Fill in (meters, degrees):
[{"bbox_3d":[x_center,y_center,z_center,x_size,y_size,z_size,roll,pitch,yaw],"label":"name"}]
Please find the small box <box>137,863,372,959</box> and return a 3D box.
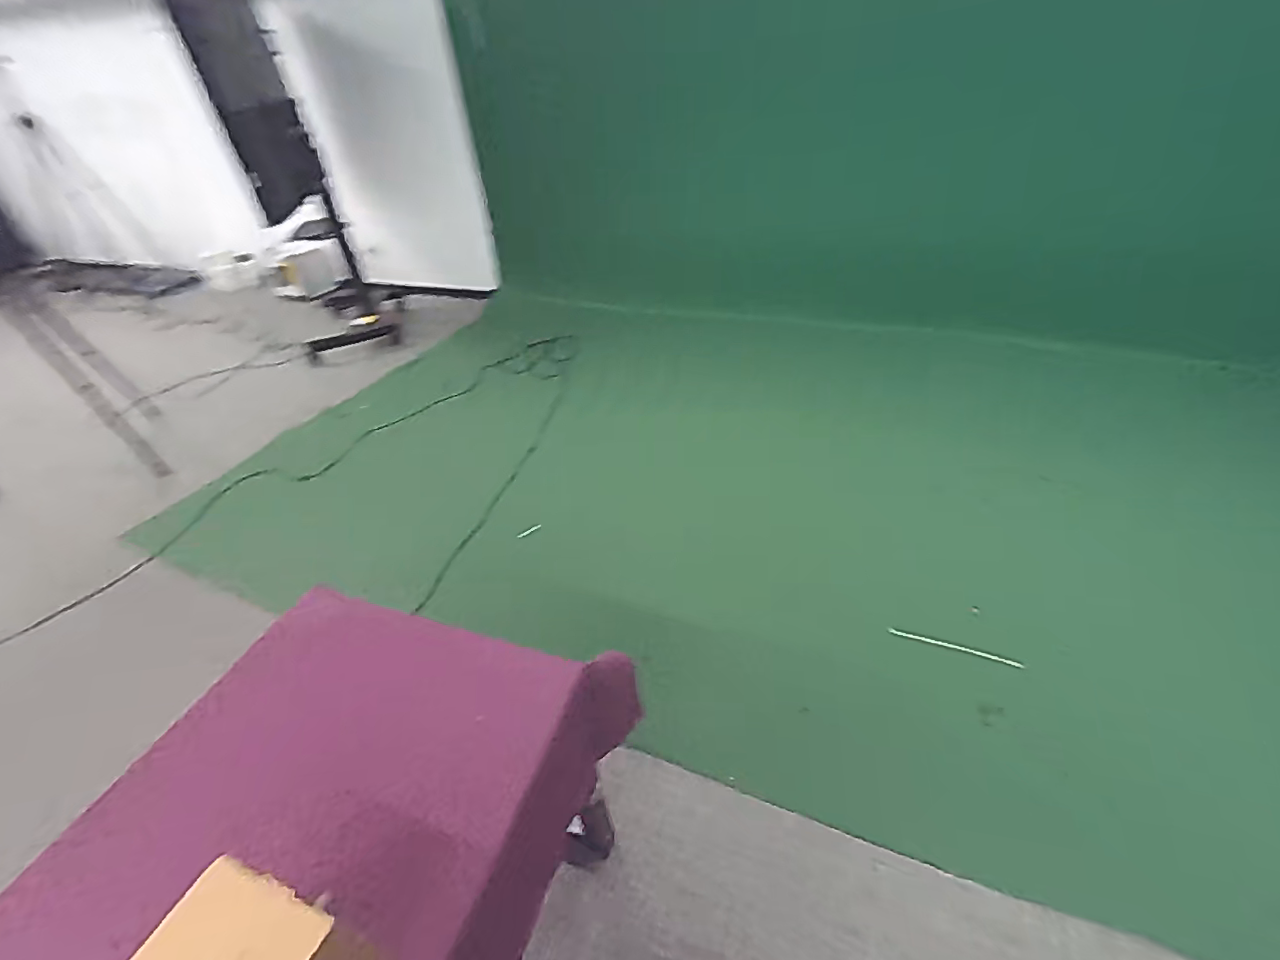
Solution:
[{"bbox_3d":[-0.395,0.533,0.534,0.168,0.176,0.179,10,39,19],"label":"small box"}]
